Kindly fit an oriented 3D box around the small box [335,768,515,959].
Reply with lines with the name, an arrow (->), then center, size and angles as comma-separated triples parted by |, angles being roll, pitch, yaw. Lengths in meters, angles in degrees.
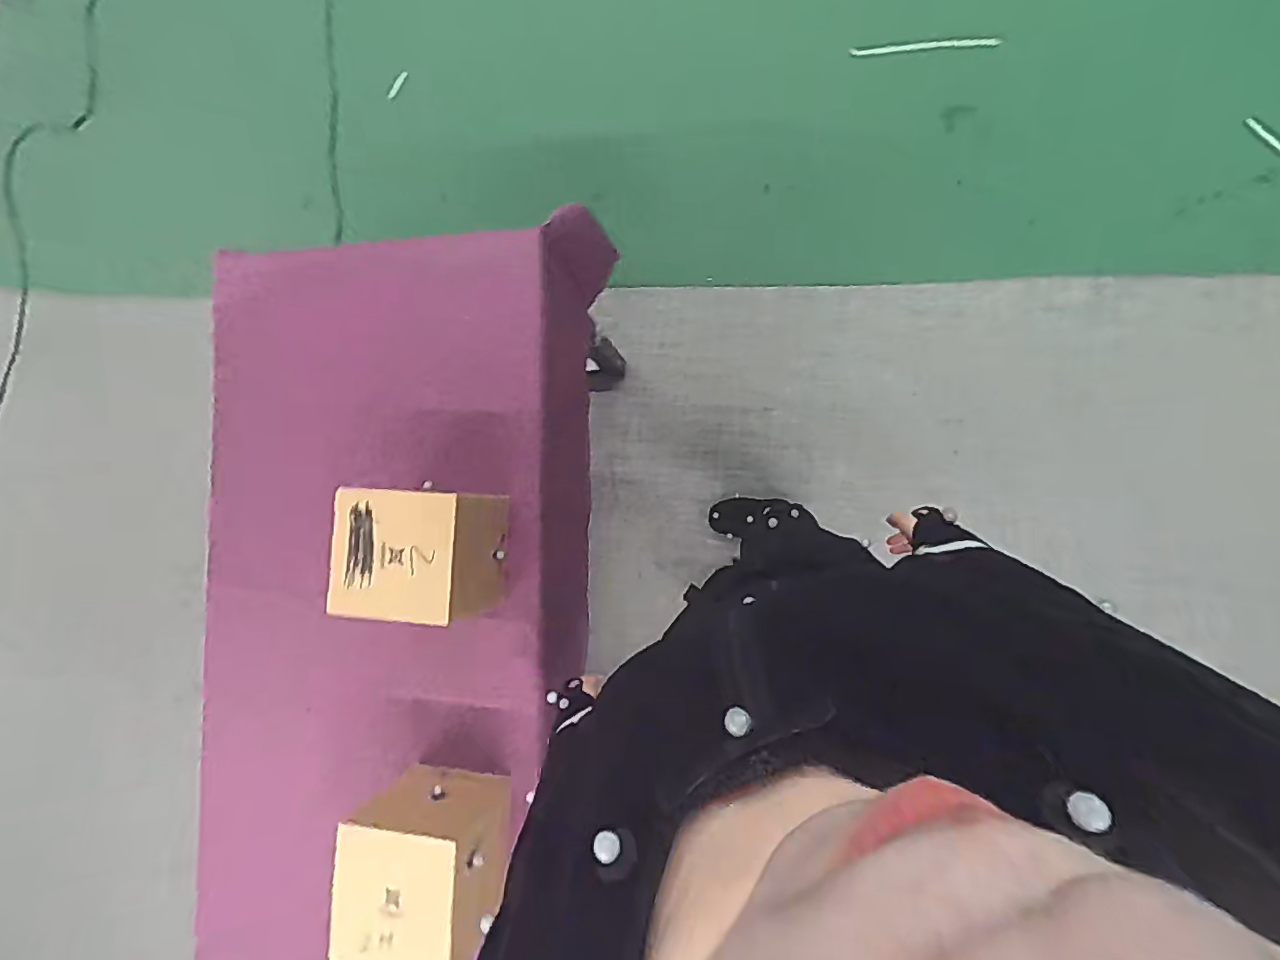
small box -> -0.284, 0.528, 0.749 | 0.168, 0.176, 0.179 | 1, 87, 12
